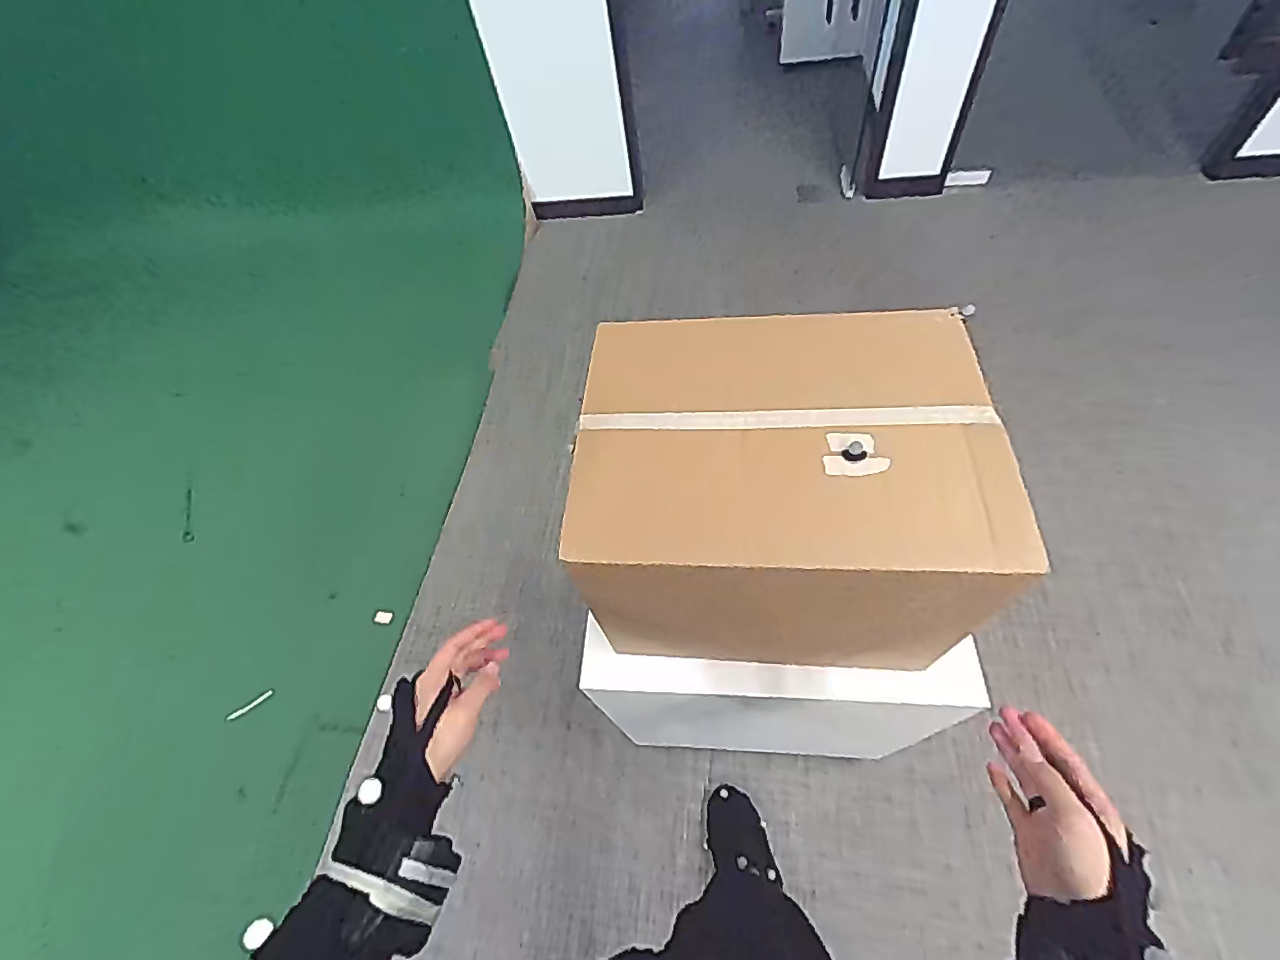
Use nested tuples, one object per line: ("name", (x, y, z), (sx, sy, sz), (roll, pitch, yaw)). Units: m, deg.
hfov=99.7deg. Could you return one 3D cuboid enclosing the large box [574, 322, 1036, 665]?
("large box", (0.157, 0.032, 0.674), (0.408, 0.320, 0.320), (0, 57, 7))
